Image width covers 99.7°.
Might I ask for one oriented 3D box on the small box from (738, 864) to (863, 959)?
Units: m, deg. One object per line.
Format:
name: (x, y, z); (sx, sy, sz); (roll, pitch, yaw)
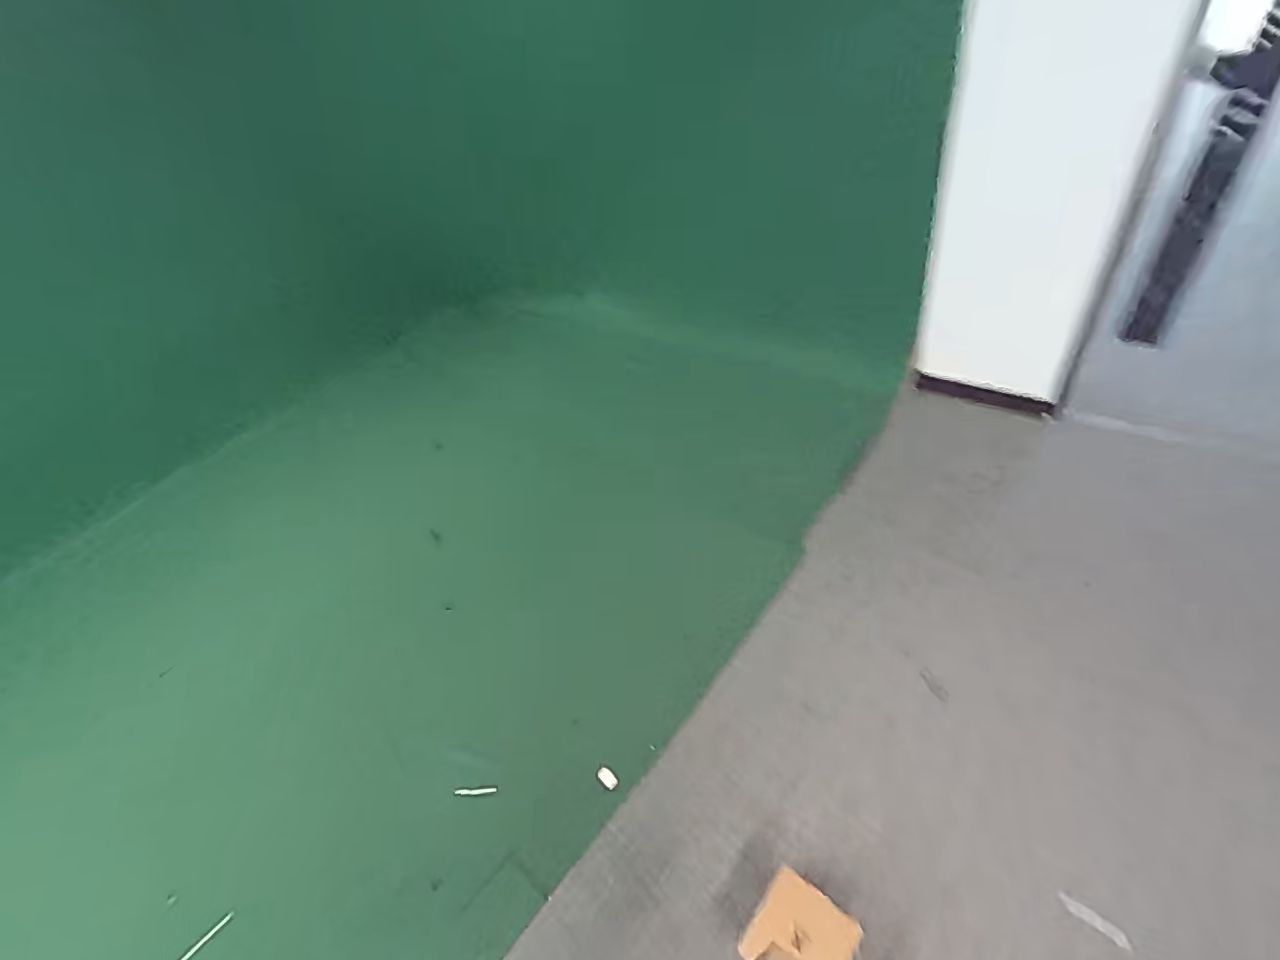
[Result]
small box: (0.312, 0.900, 1.045); (0.168, 0.176, 0.179); (25, 56, 36)
